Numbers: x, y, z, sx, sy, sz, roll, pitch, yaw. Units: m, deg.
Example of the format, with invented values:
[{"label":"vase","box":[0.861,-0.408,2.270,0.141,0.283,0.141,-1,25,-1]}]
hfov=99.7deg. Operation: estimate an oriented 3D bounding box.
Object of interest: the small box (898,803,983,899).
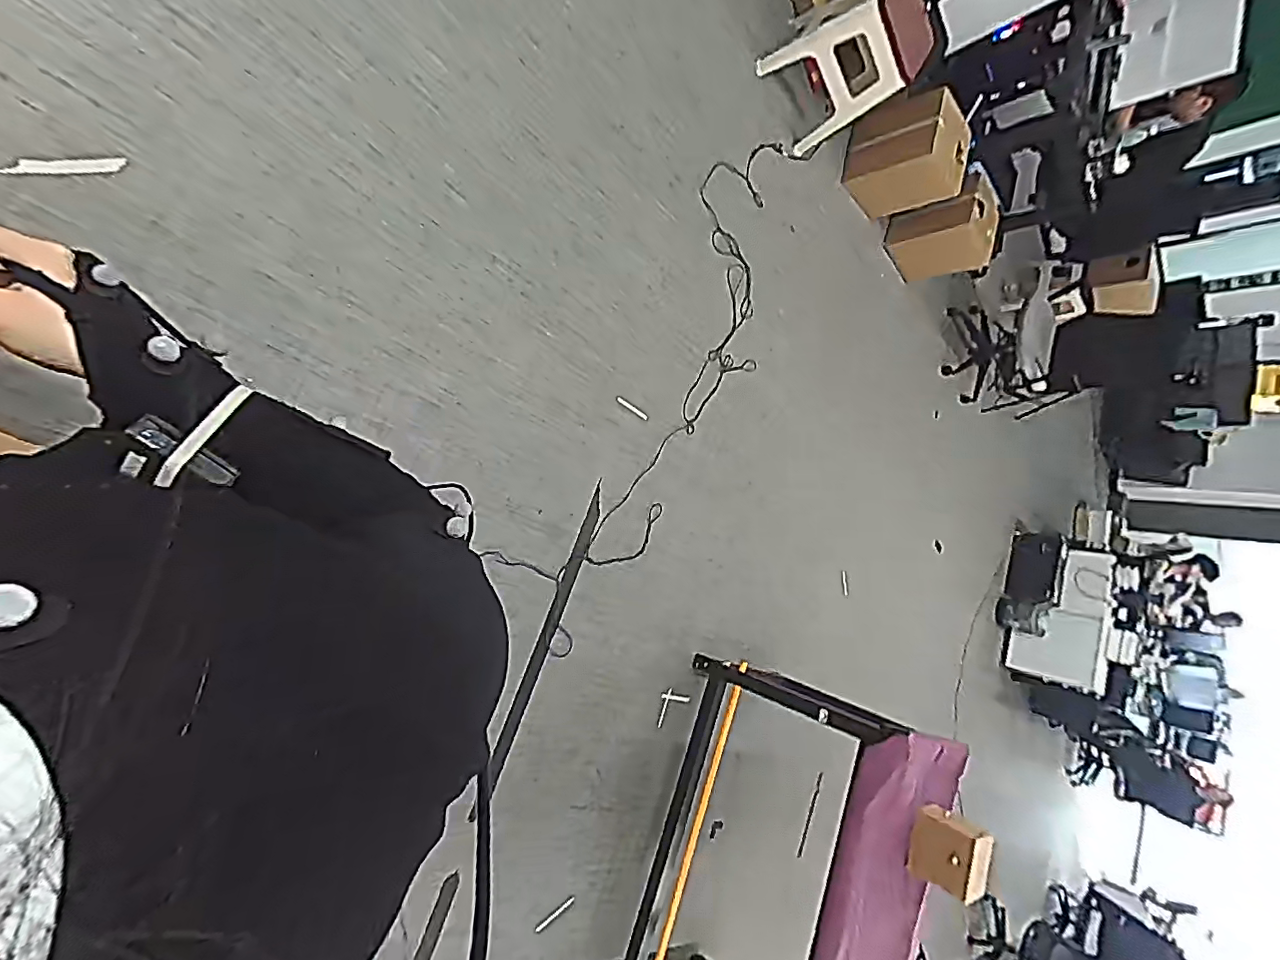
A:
[{"label":"small box","box":[0.907,1.115,1.640,0.168,0.176,0.179,24,77,-39]}]
